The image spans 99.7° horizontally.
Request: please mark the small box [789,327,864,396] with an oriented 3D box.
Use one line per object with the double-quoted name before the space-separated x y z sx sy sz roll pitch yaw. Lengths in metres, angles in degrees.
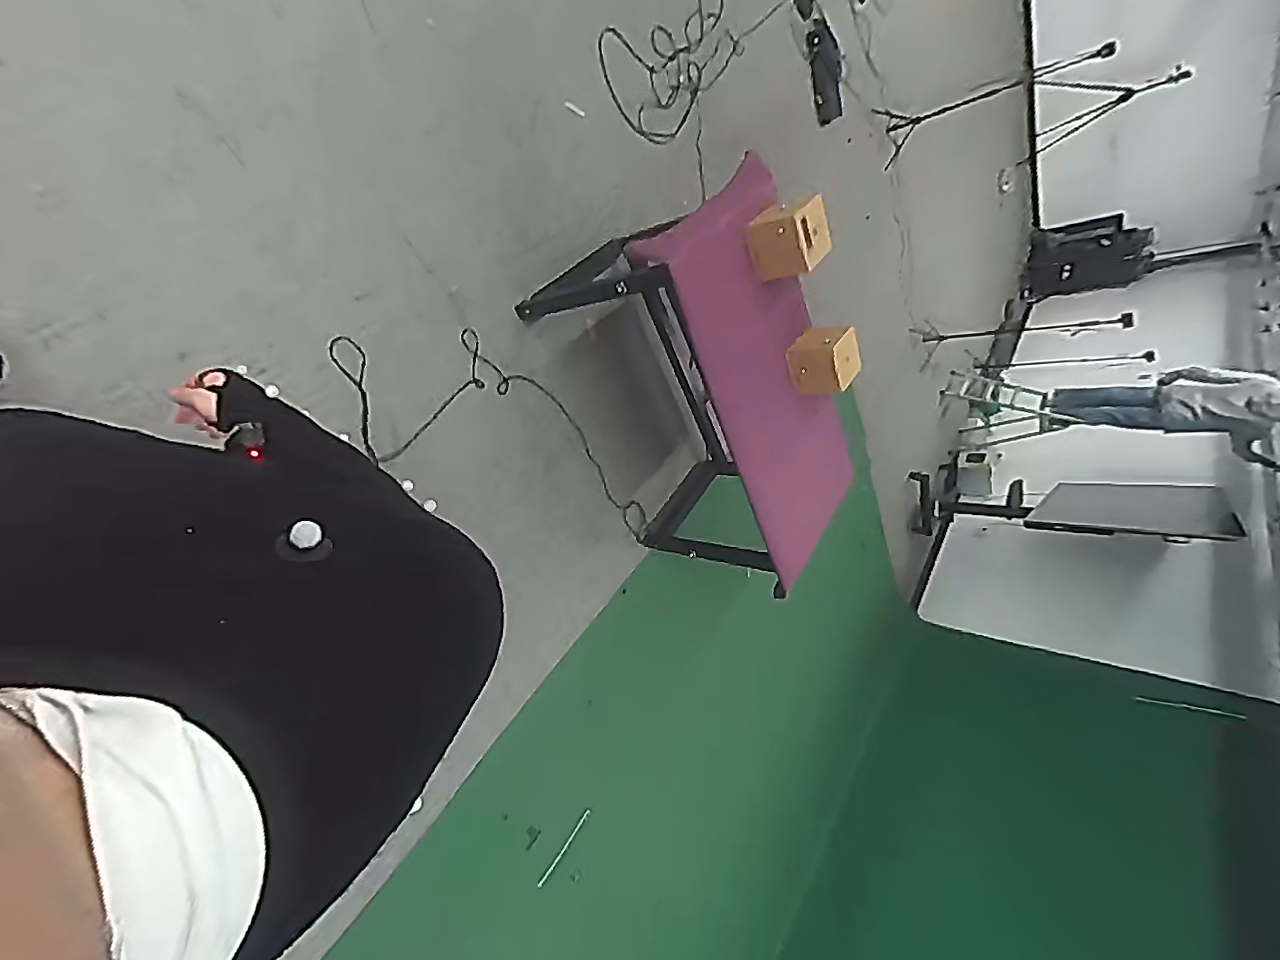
"small box" 0.628 -0.398 1.819 0.179 0.176 0.168 -44 124 -31
